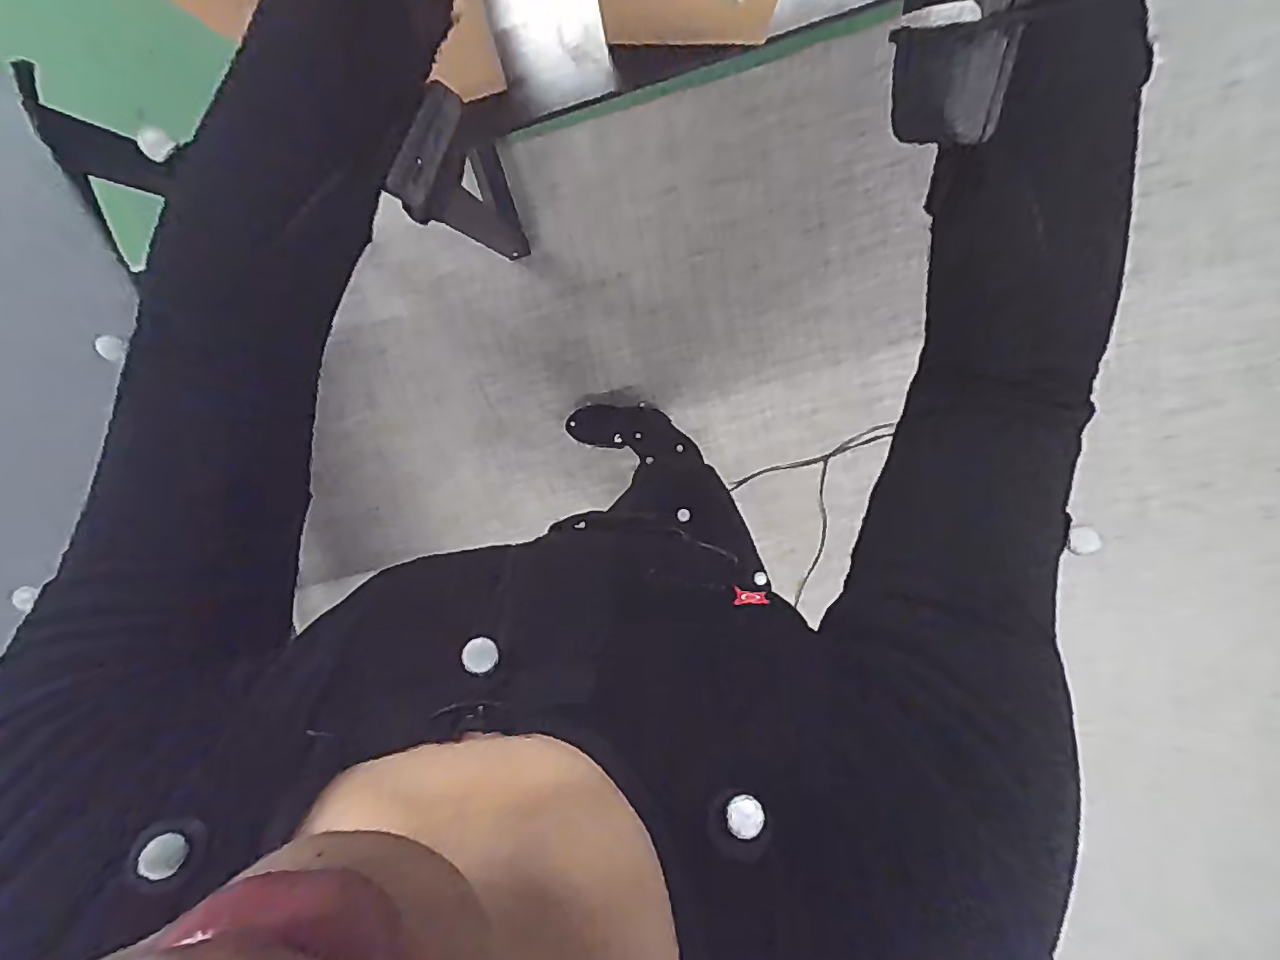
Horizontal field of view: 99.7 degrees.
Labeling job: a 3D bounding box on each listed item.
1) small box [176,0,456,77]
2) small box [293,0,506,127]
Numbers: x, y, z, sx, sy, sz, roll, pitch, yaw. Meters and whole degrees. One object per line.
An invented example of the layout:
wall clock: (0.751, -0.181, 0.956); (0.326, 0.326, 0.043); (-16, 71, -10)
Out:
small box: (-0.242, -0.420, 0.364); (0.179, 0.176, 0.168); (-14, 103, 6)
small box: (-0.246, -0.472, 0.518); (0.168, 0.176, 0.179); (-14, 102, 5)
